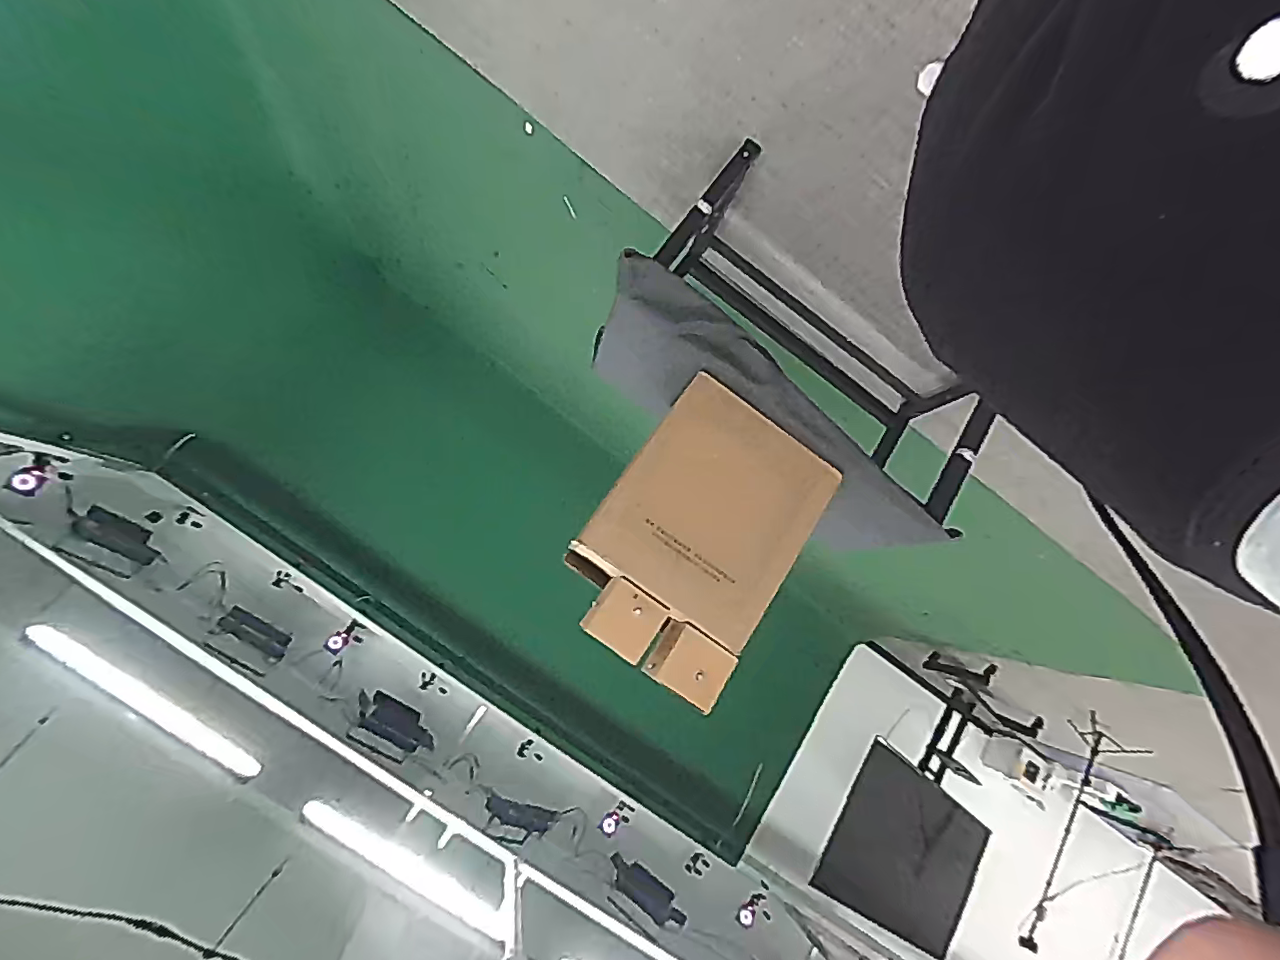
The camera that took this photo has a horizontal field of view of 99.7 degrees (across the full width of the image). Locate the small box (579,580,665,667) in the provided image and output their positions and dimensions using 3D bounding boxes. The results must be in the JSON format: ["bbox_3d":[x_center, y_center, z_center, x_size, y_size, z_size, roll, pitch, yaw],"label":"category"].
[{"bbox_3d":[-0.050,0.392,1.507,0.168,0.176,0.179,36,163,-3],"label":"small box"}]

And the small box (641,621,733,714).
[{"bbox_3d":[0.132,0.516,1.511,0.179,0.176,0.168,35,164,-4],"label":"small box"}]
